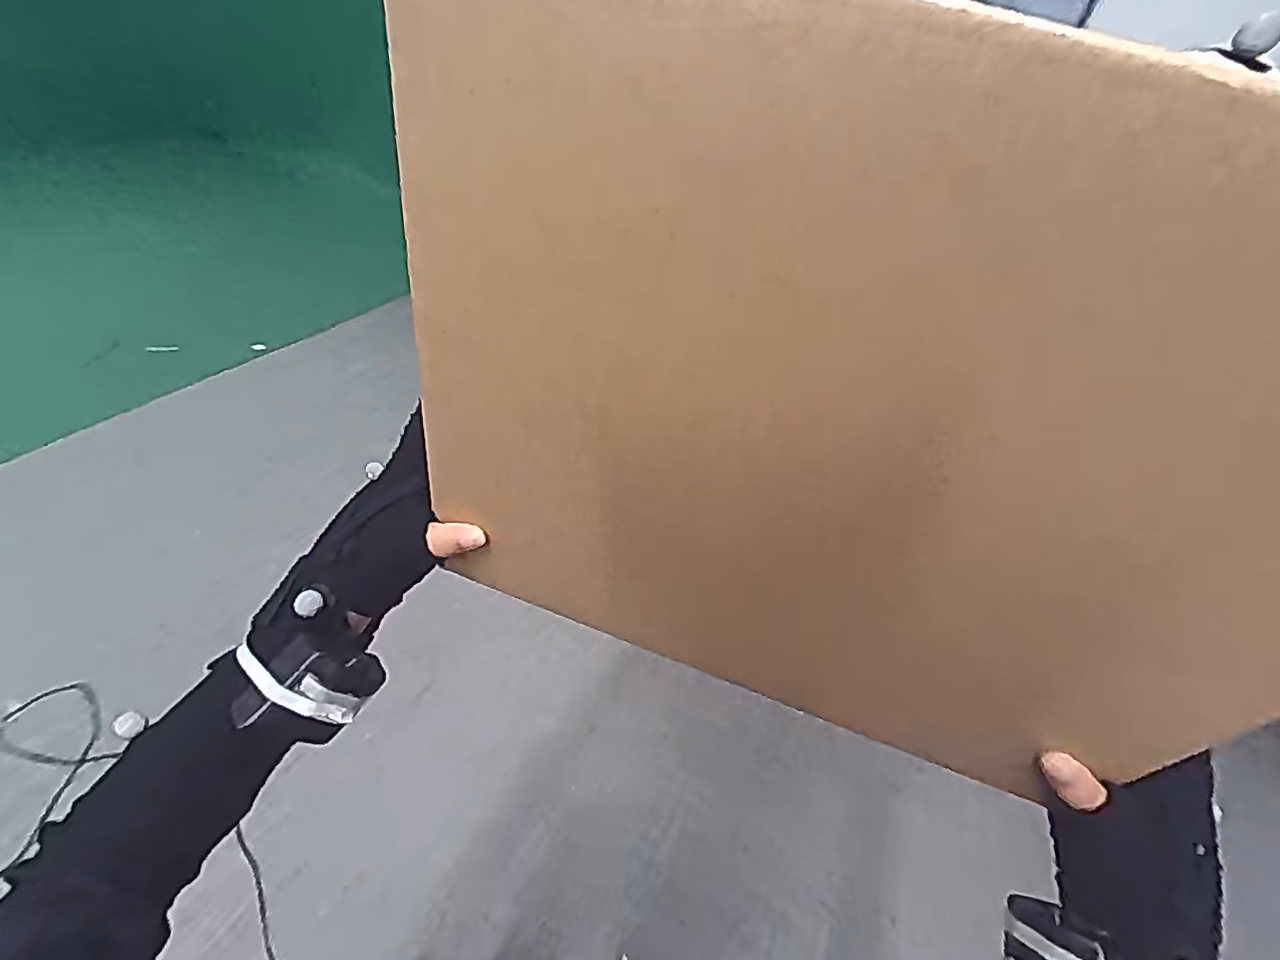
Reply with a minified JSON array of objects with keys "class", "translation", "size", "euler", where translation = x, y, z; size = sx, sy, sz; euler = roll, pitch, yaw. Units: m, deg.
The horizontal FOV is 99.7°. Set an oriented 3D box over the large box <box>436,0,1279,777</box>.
[{"class":"large box","translation":[0.130,-0.081,0.348],"size":[0.408,0.320,0.320],"euler":[20,43,3]}]
